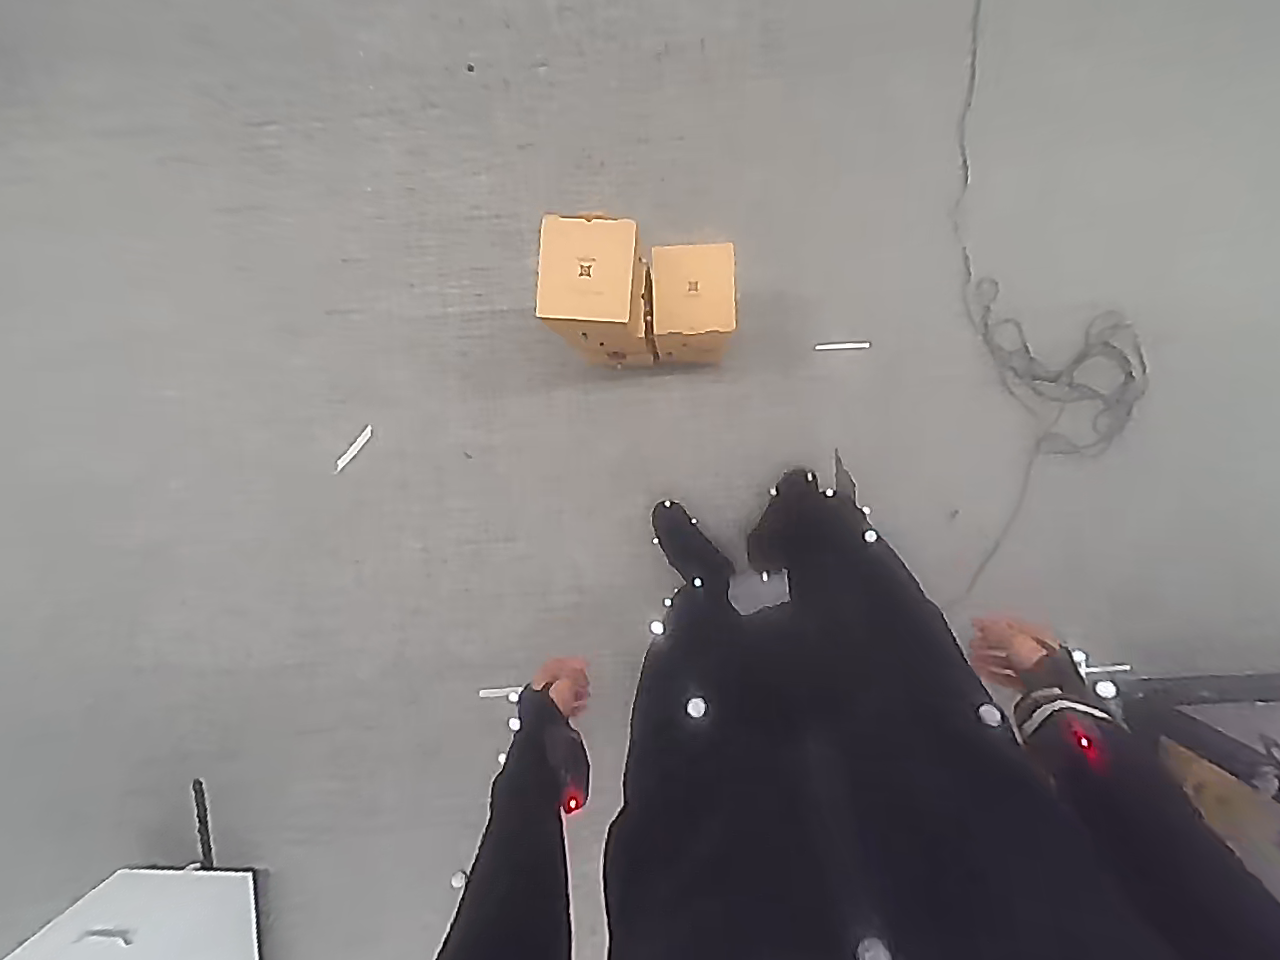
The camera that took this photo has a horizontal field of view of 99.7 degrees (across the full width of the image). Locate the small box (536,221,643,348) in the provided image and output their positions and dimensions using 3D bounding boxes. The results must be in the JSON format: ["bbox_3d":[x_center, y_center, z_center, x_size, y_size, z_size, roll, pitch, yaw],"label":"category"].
[{"bbox_3d":[-0.086,-0.355,1.005,0.168,0.176,0.179,5,93,4],"label":"small box"}]
